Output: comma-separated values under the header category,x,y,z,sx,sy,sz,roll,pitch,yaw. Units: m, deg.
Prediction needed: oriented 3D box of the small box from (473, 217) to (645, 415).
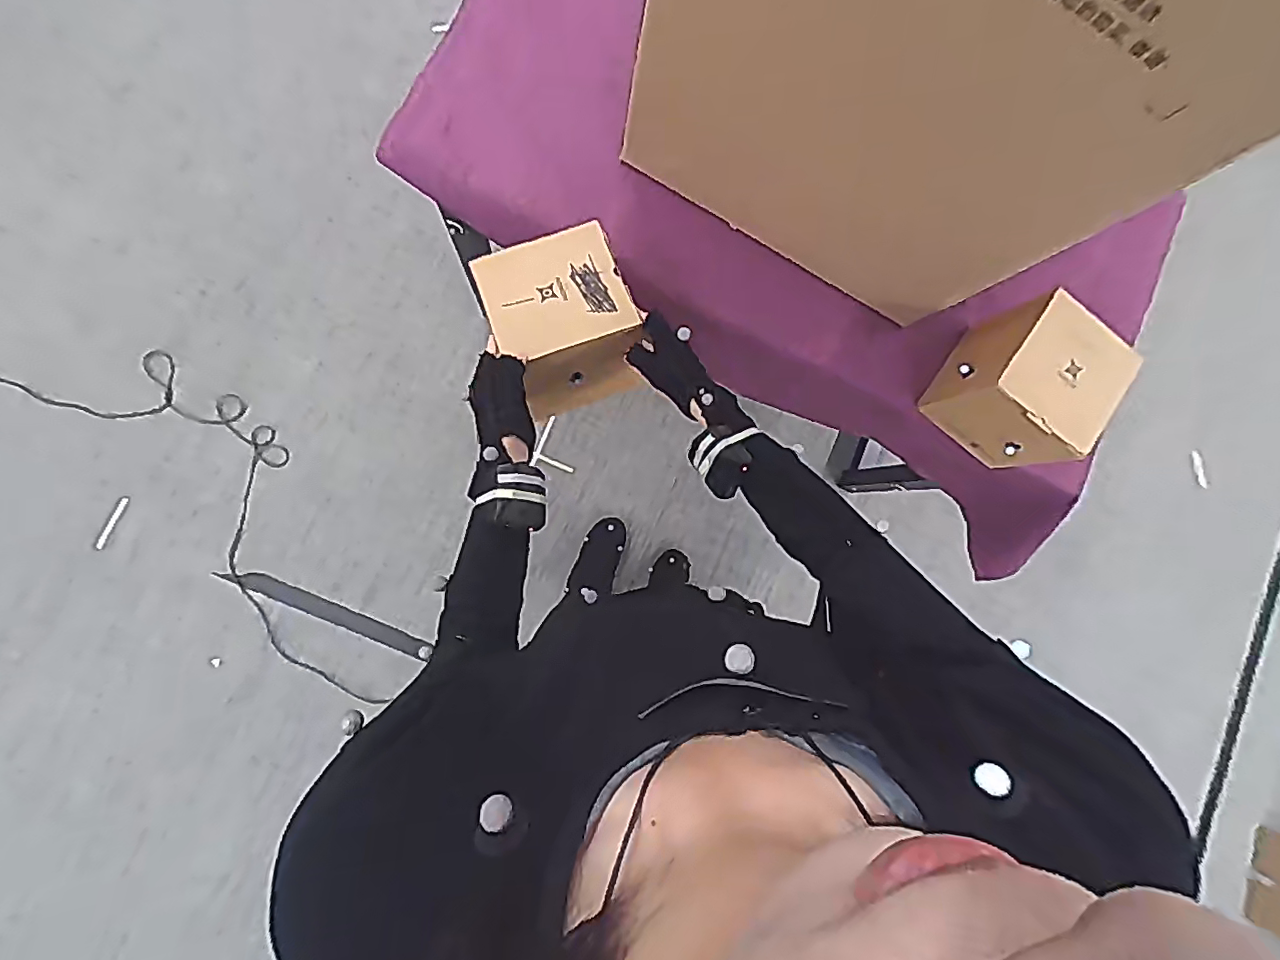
category,x,y,z,sx,sy,sz,roll,pitch,yaw
small box,-0.102,-0.212,0.737,0.179,0.176,0.168,-20,74,-5

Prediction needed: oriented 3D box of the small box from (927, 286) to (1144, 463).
category,x,y,z,sx,sy,sz,roll,pitch,yaw
small box,0.571,-0.142,0.806,0.168,0.176,0.179,37,81,-5
